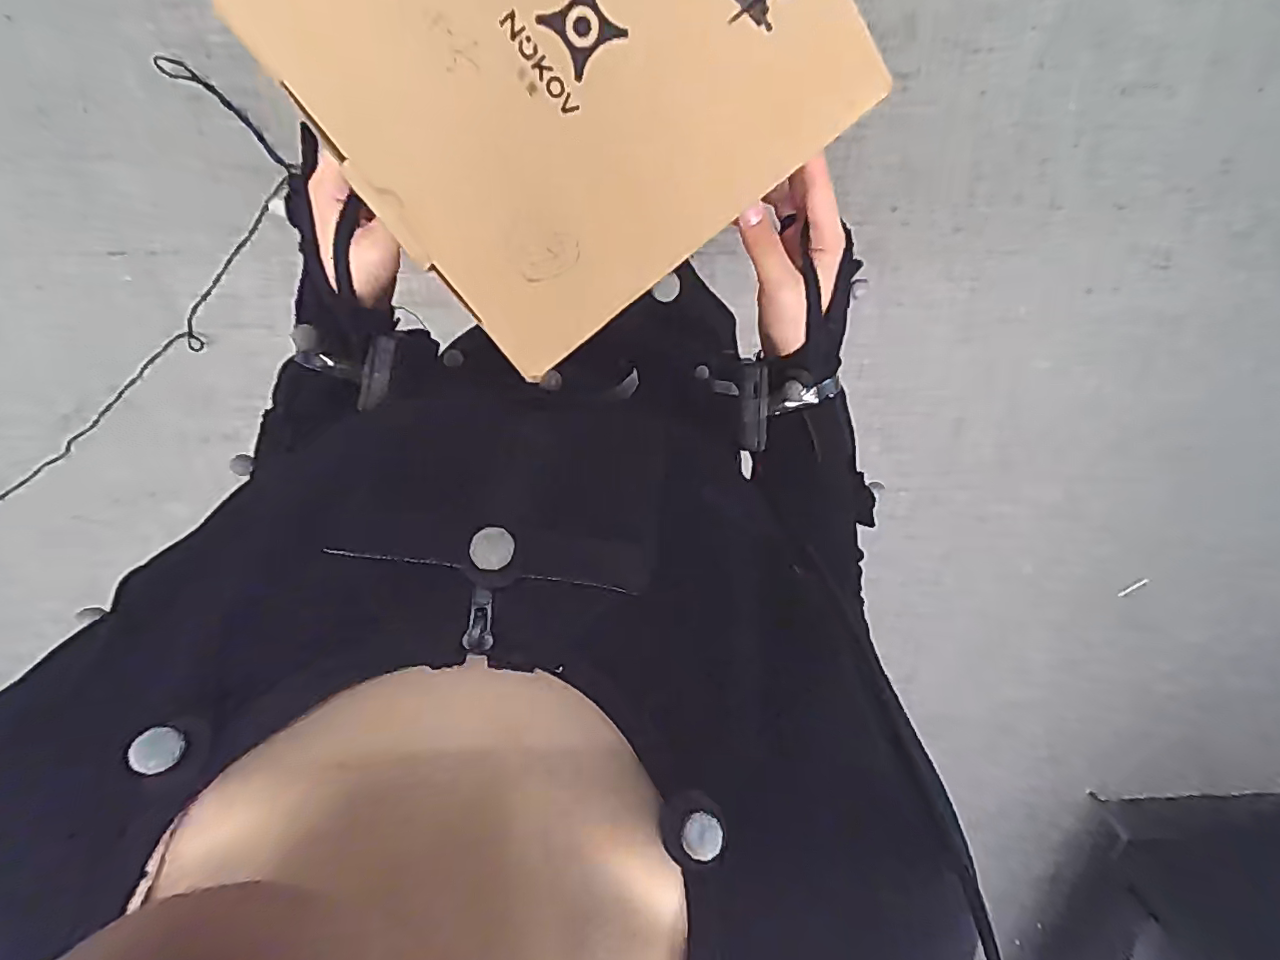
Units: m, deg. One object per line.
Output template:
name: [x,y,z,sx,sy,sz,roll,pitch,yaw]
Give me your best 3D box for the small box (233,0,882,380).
small box: [-0.026,-0.176,0.266,0.179,0.176,0.168,-35,107,13]
